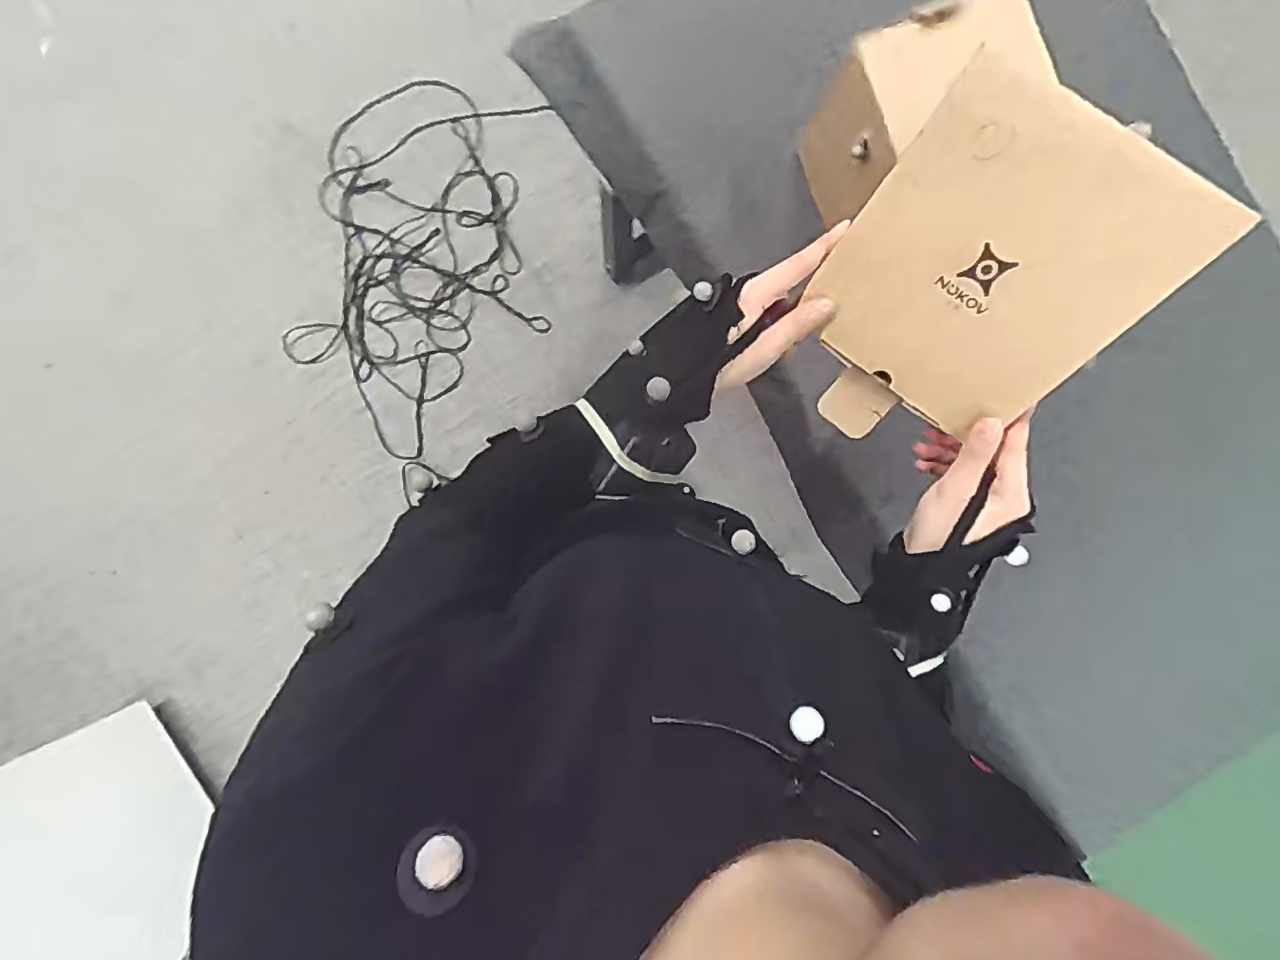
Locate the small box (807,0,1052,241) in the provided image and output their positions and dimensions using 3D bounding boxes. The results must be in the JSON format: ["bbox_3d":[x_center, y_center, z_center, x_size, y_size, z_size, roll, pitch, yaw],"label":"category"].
[{"bbox_3d":[0.300,-0.345,0.575,0.168,0.176,0.179,-20,92,-1],"label":"small box"}]

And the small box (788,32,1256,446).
[{"bbox_3d":[0.234,-0.164,0.383,0.168,0.176,0.179,36,130,4],"label":"small box"}]
